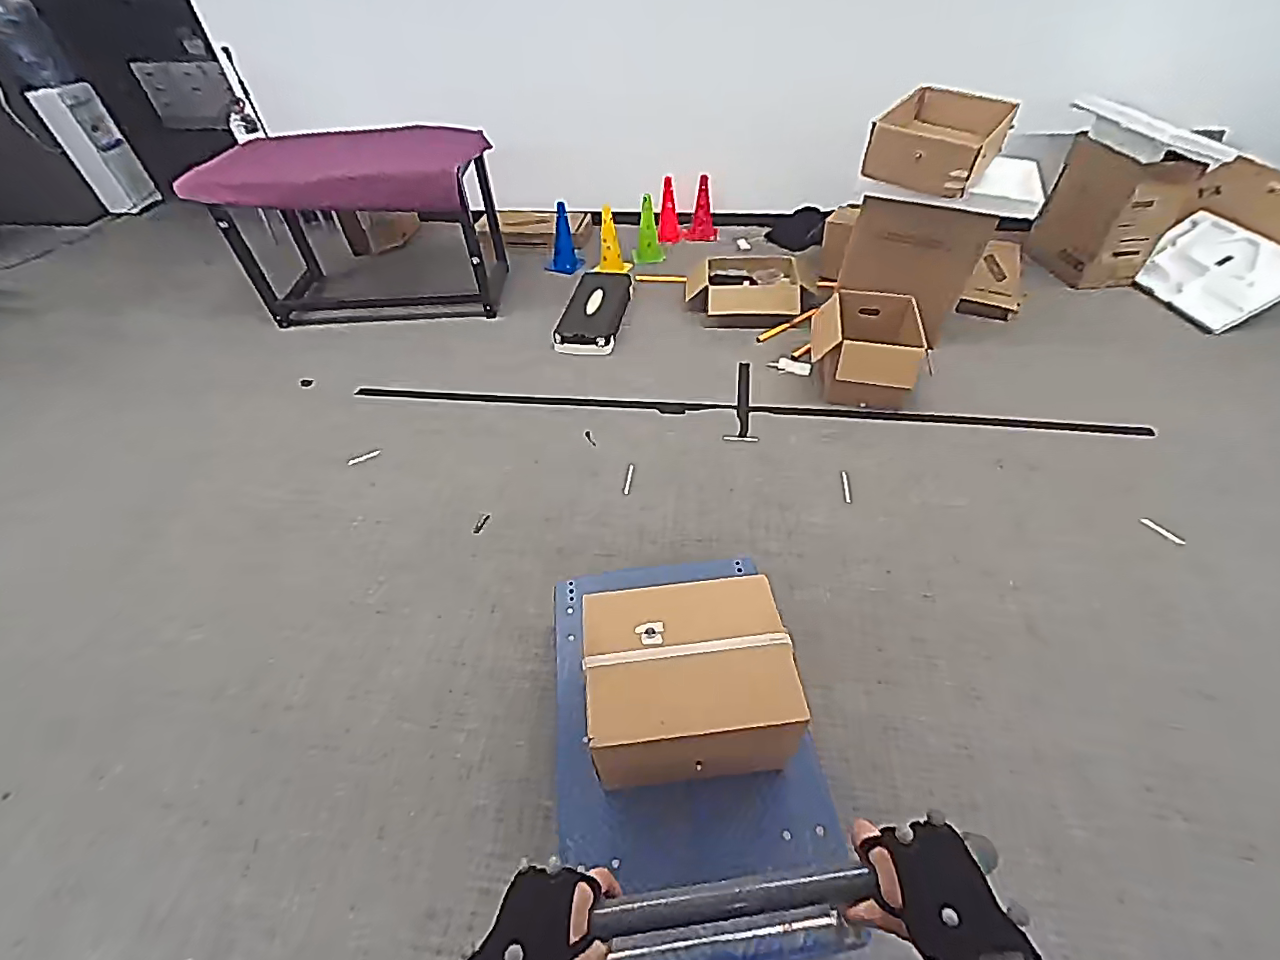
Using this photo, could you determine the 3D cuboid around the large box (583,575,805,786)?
[{"bbox_3d":[0.101,0.447,1.199,0.408,0.320,0.320,-7,47,-2],"label":"large box"}]
